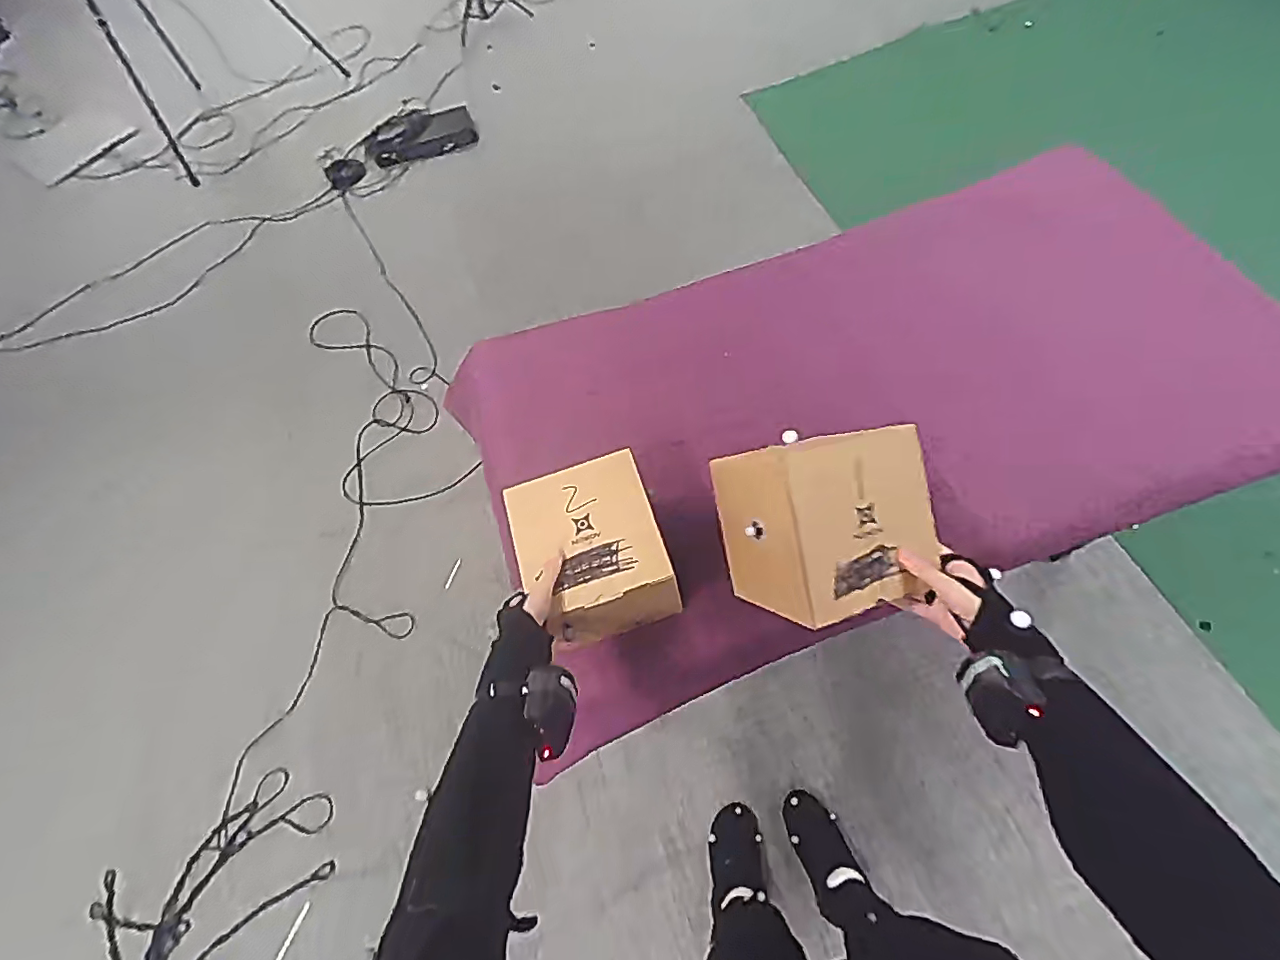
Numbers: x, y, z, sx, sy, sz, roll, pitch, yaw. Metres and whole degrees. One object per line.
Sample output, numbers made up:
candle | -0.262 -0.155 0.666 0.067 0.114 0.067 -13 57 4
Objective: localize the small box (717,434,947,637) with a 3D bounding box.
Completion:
small box | 0.203 0.050 0.608 0.168 0.176 0.179 -12 94 -16
